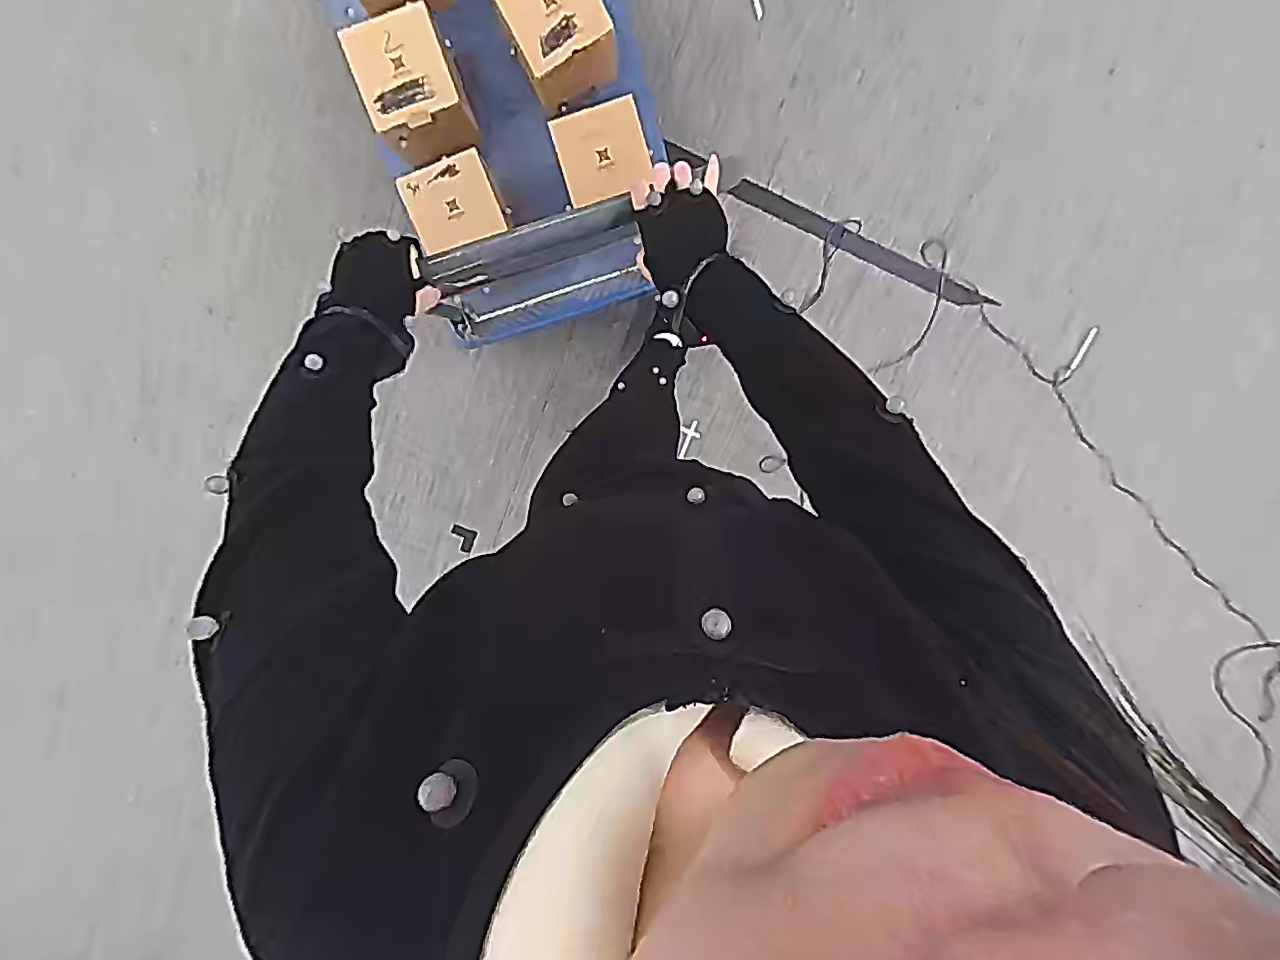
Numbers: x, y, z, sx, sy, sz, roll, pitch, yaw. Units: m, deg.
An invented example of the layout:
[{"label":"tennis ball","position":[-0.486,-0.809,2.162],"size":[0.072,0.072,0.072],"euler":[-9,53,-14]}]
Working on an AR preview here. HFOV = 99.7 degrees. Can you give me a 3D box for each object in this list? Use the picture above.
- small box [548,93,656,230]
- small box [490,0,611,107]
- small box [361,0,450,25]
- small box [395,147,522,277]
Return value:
[{"label":"small box","position":[-0.072,-0.623,1.086],"size":[0.168,0.176,0.179],"euler":[-17,101,1]},{"label":"small box","position":[-0.165,-0.858,1.032],"size":[0.168,0.176,0.179],"euler":[-30,101,4]},{"label":"small box","position":[-0.474,-0.999,0.991],"size":[0.168,0.176,0.179],"euler":[-16,103,2]},{"label":"small box","position":[-0.353,-0.526,1.094],"size":[0.168,0.176,0.179],"euler":[-22,102,2]}]
